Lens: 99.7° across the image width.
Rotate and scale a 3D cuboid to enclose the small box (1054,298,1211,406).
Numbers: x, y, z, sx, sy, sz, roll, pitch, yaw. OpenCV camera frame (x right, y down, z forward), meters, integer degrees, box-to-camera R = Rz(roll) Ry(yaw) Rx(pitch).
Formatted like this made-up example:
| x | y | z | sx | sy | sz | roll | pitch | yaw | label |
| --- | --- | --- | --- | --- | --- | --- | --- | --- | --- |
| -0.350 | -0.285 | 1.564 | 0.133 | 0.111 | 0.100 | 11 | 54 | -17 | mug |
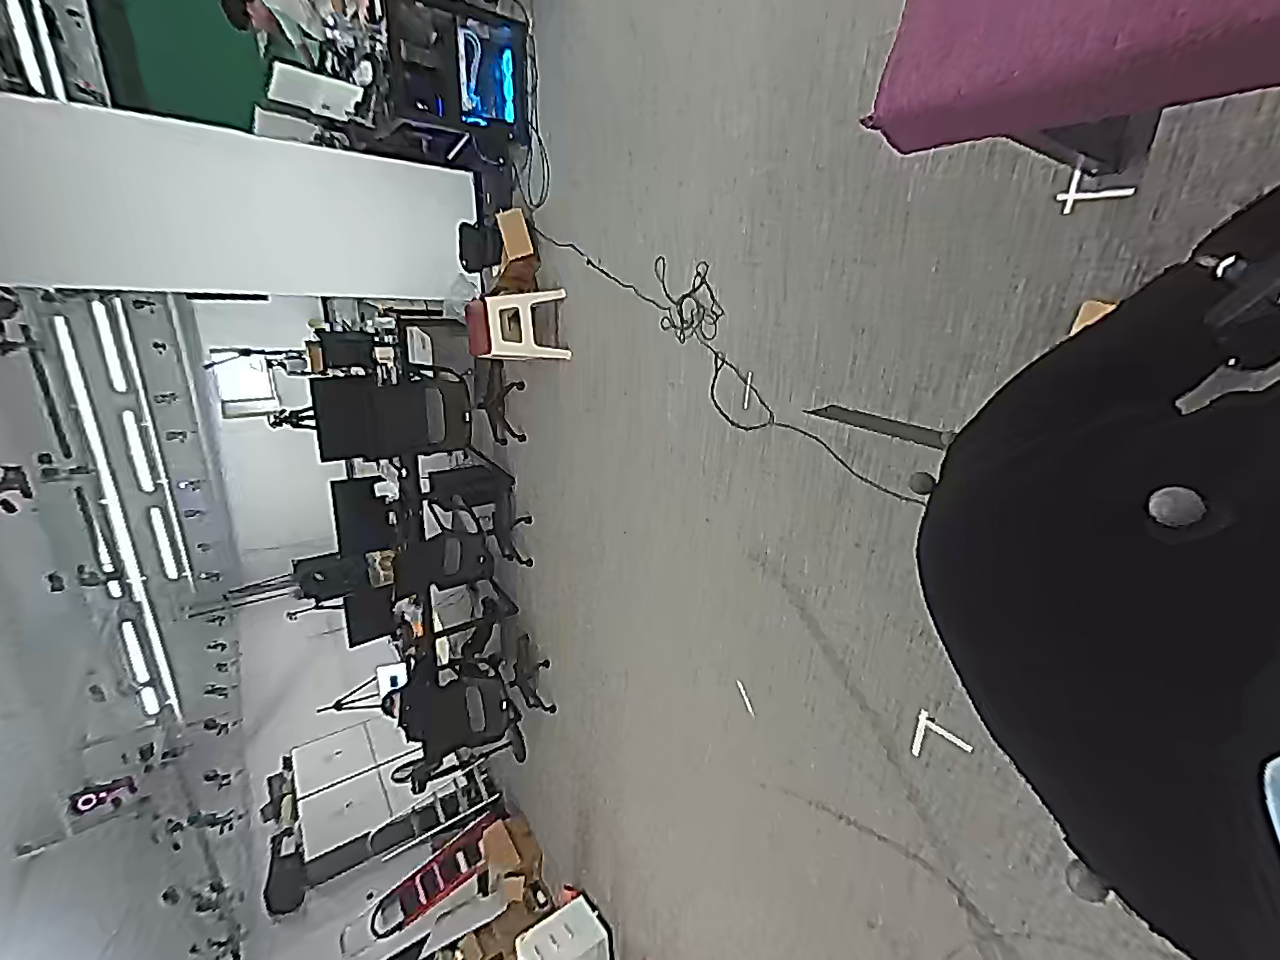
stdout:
| x | y | z | sx | sy | sz | roll | pitch | yaw | label |
| --- | --- | --- | --- | --- | --- | --- | --- | --- | --- |
| 0.989 | -0.261 | 1.087 | 0.168 | 0.176 | 0.179 | 35 | 126 | 46 | small box |
